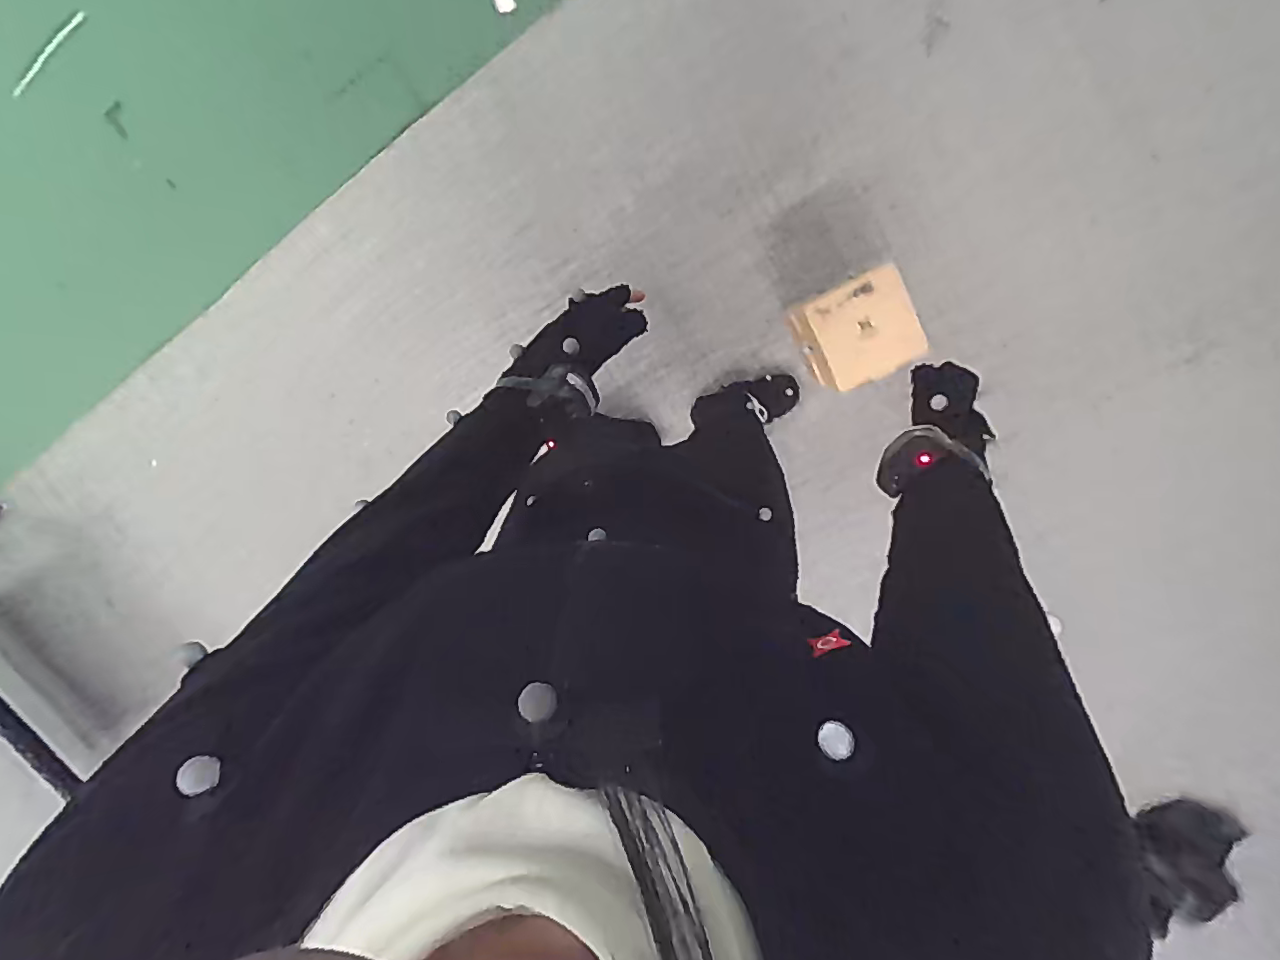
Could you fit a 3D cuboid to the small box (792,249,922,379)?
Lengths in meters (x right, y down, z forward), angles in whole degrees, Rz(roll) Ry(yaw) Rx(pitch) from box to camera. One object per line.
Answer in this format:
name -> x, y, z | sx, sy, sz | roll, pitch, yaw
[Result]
small box -> 0.404, -0.318, 1.031 | 0.168, 0.176, 0.179 | -23, 104, 15
